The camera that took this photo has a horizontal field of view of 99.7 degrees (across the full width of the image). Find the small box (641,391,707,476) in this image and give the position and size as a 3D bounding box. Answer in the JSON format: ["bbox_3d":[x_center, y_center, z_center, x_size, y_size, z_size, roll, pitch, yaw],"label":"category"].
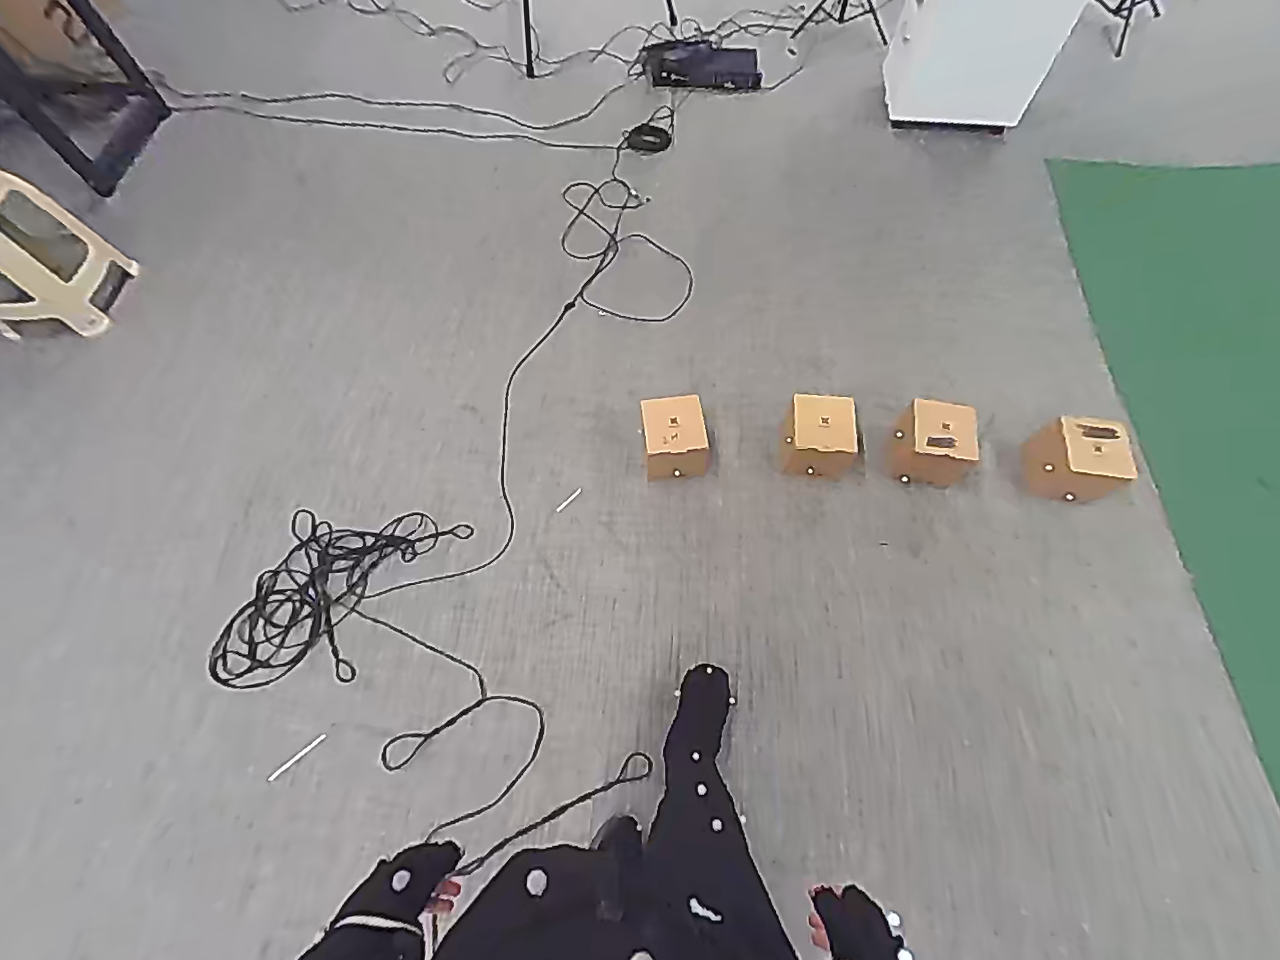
[{"bbox_3d":[0.090,-0.129,1.535,0.168,0.176,0.179,-6,64,-1],"label":"small box"}]

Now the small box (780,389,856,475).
[{"bbox_3d":[0.496,-0.132,1.530,0.168,0.176,0.179,4,65,3],"label":"small box"}]

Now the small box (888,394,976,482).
[{"bbox_3d":[0.810,-0.112,1.514,0.168,0.176,0.179,11,64,5],"label":"small box"}]
